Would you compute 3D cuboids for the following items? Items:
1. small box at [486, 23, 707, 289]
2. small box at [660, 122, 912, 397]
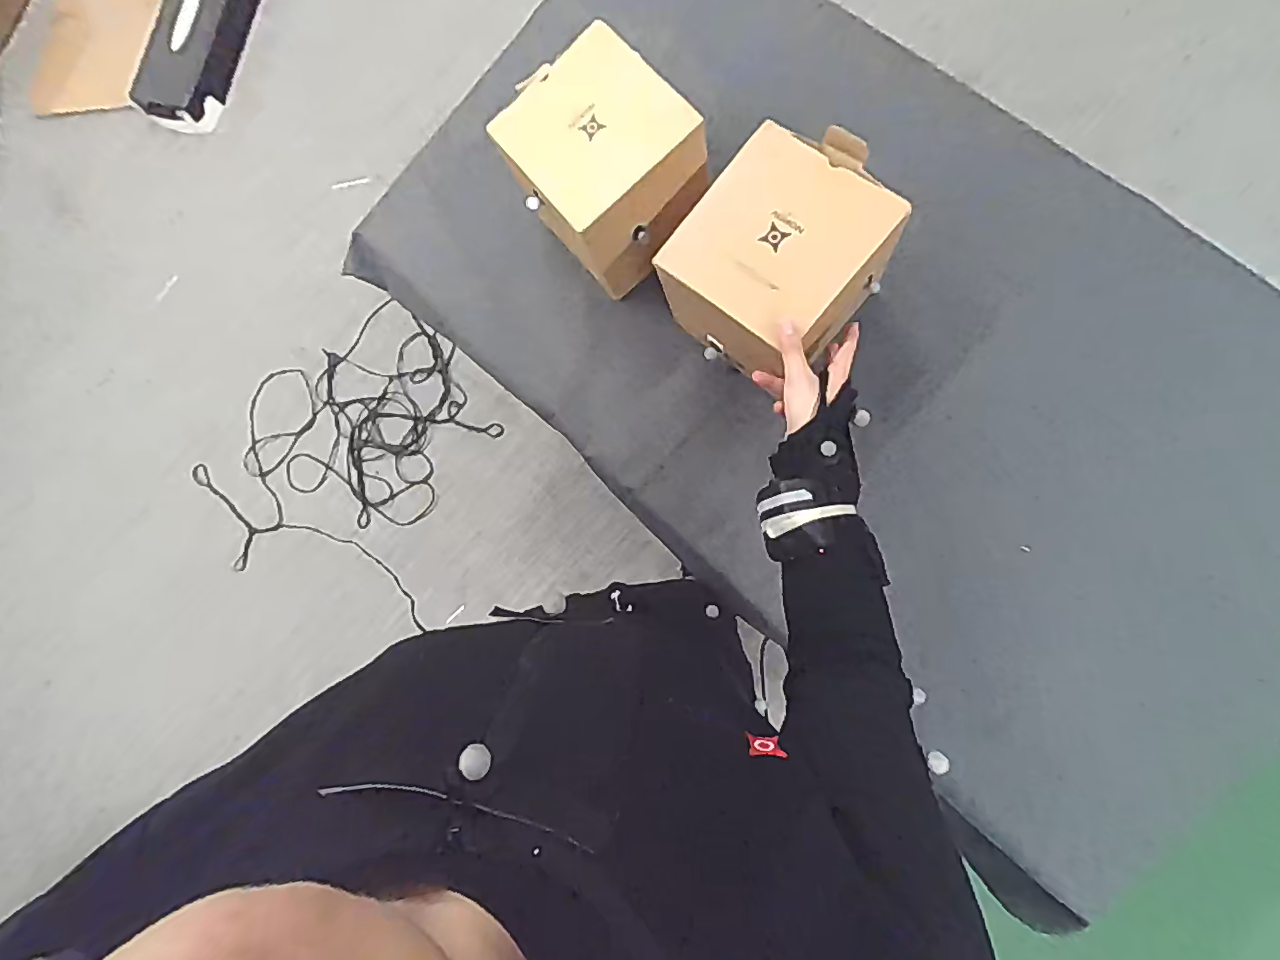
[{"bbox_3d":[-0.036,-0.351,0.629,0.168,0.176,0.179,-41,78,4],"label":"small box"},{"bbox_3d":[0.146,-0.218,0.579,0.168,0.176,0.179,39,93,14],"label":"small box"}]
